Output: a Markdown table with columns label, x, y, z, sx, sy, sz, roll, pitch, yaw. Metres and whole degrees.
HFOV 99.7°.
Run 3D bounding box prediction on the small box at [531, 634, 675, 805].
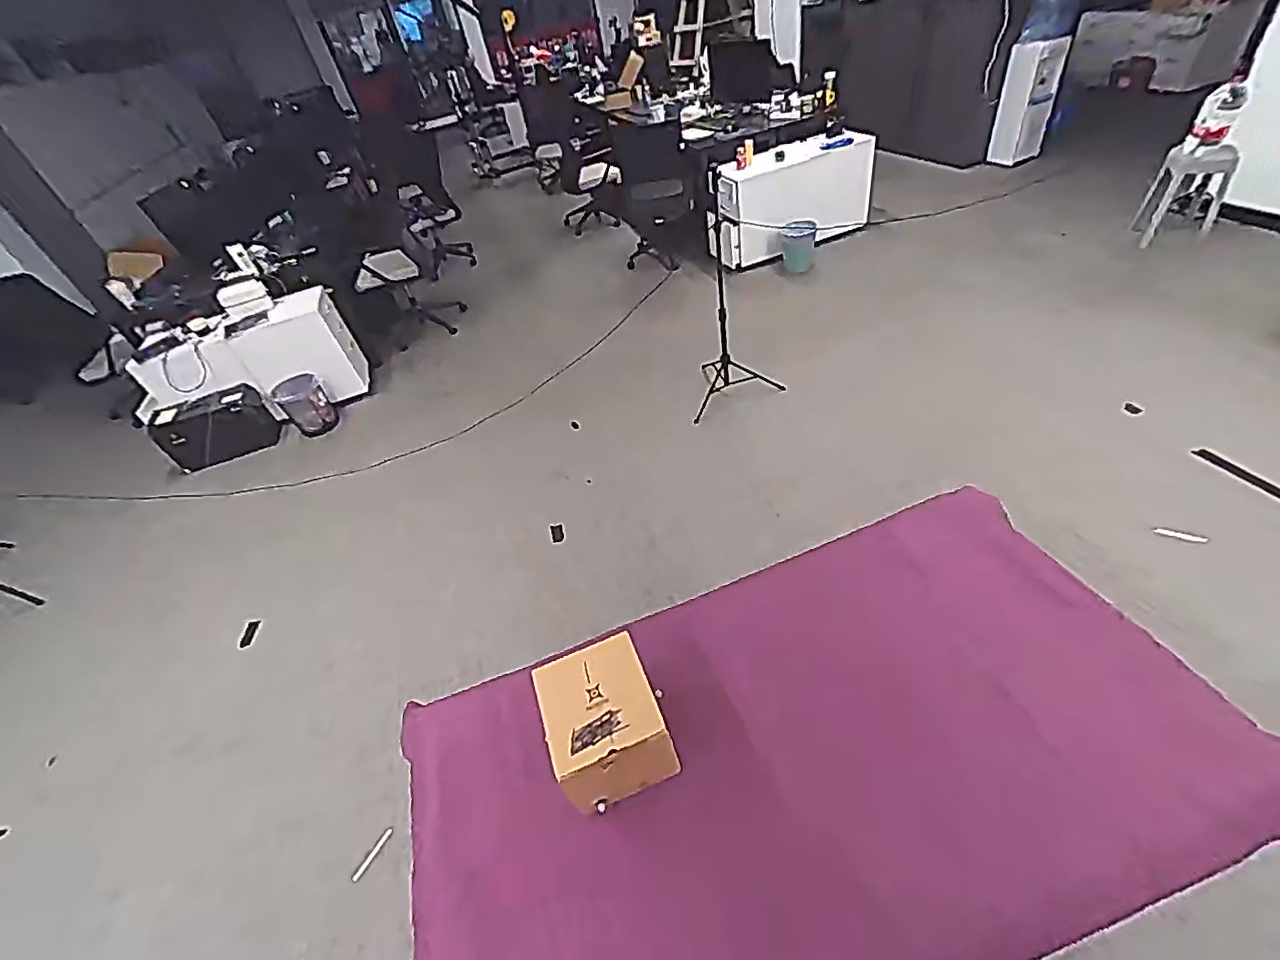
| label | x | y | z | sx | sy | sz | roll | pitch | yaw |
| --- | --- | --- | --- | --- | --- | --- | --- | --- | --- |
| small box | -0.055 | 0.386 | 0.859 | 0.168 | 0.176 | 0.179 | -21 | 43 | -8 |
